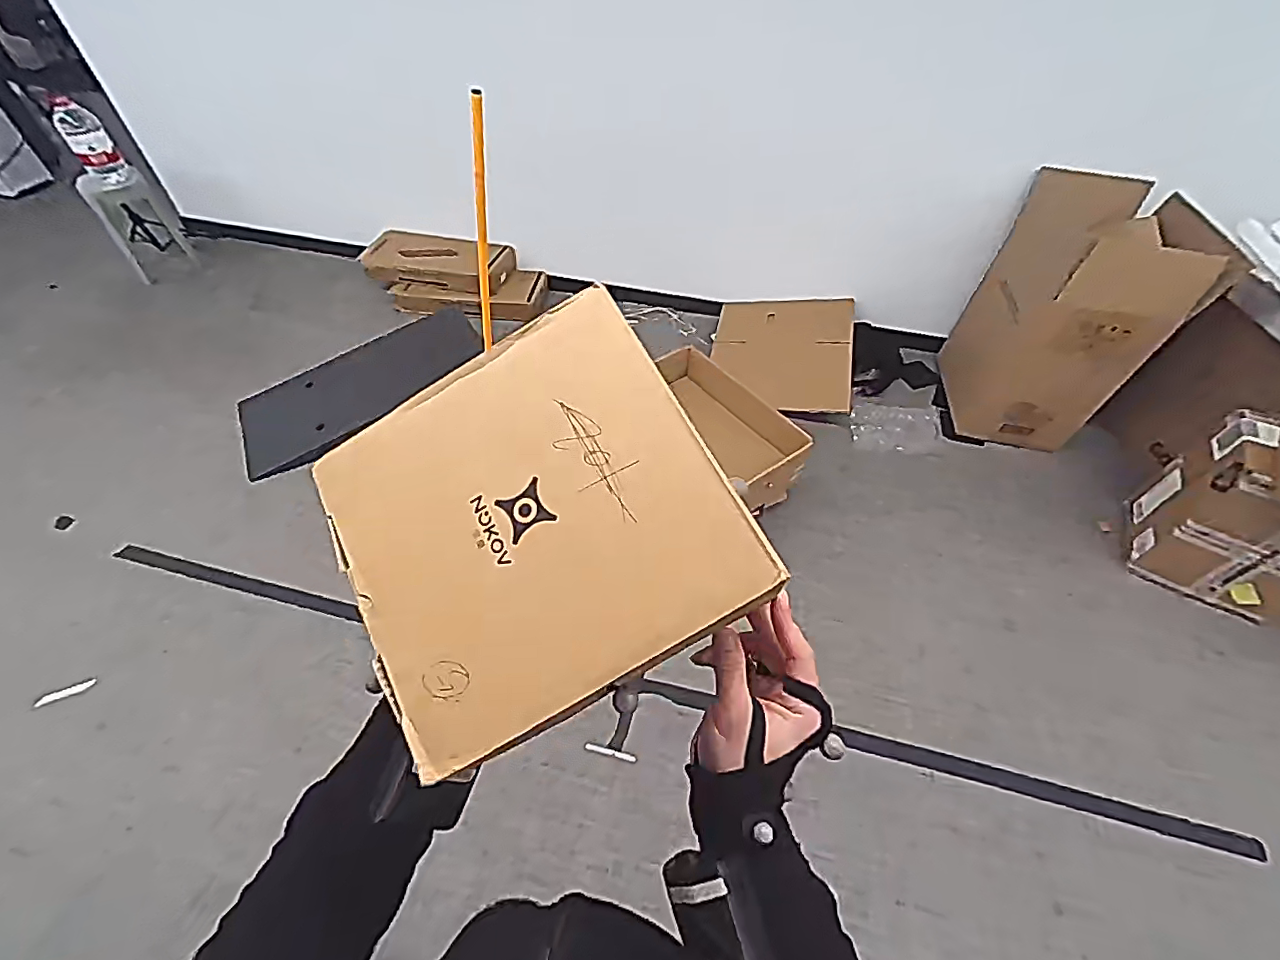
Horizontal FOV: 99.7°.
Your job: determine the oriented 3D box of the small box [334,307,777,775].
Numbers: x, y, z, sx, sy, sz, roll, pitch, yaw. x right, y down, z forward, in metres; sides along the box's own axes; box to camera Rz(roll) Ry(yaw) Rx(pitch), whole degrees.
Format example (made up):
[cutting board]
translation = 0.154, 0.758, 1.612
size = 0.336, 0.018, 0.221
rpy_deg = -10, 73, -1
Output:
[small box]
translation = -0.034, 0.040, 0.330
size = 0.179, 0.176, 0.168
rpy_deg = -32, 72, 3
